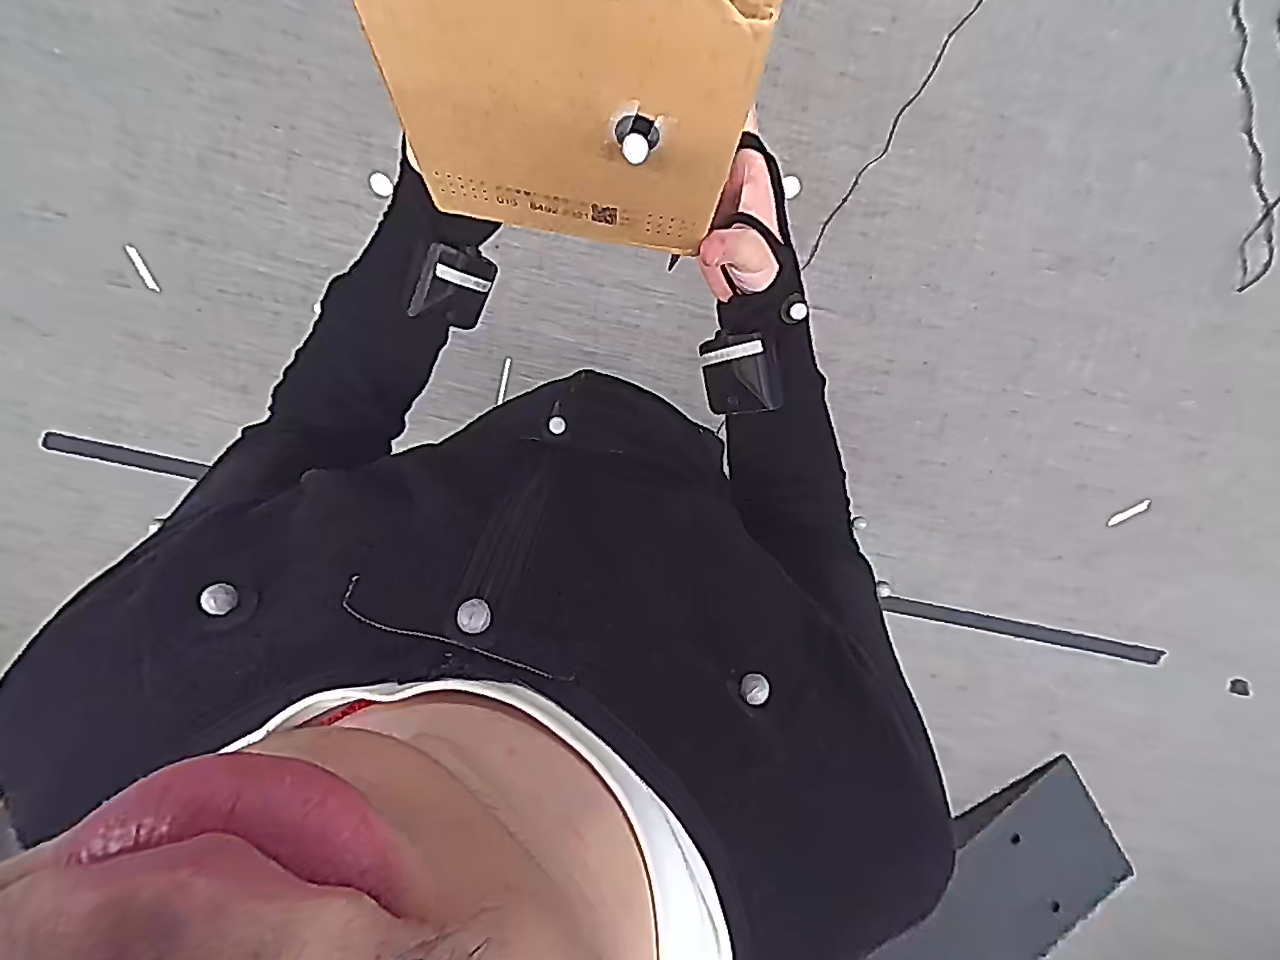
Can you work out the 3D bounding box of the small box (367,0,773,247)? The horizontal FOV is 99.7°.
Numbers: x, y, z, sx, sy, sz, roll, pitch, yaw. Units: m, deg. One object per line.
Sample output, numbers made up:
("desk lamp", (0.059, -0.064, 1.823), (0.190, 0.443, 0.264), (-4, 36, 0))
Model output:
("small box", (-0.025, -0.255, 0.283), (0.168, 0.176, 0.179), (9, 78, -5))
